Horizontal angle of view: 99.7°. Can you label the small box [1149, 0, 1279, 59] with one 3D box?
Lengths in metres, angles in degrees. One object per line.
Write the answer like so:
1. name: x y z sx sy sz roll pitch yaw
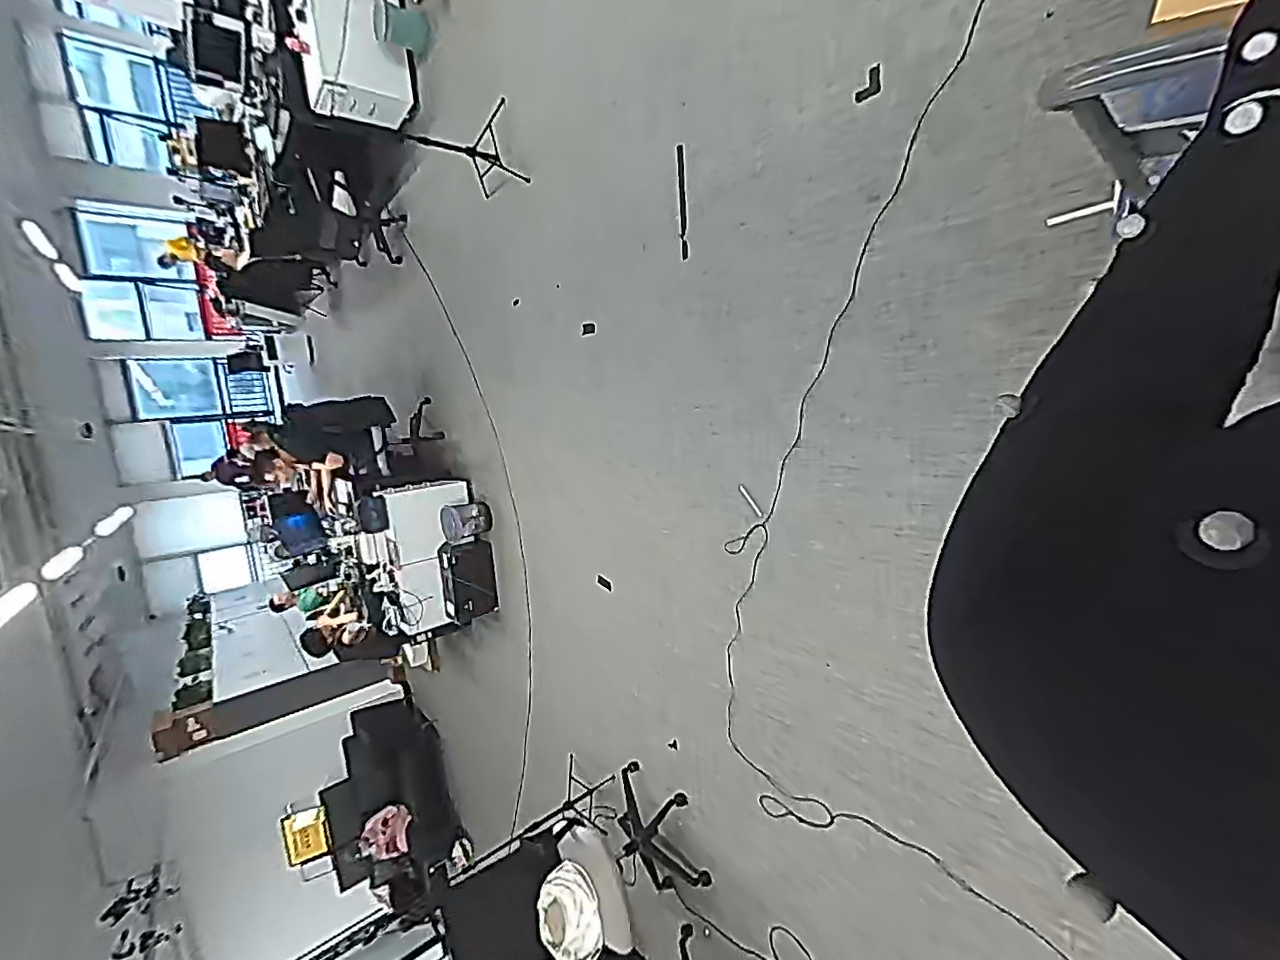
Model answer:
1. small box: 0.871 -0.732 0.762 0.179 0.176 0.168 23 116 44
